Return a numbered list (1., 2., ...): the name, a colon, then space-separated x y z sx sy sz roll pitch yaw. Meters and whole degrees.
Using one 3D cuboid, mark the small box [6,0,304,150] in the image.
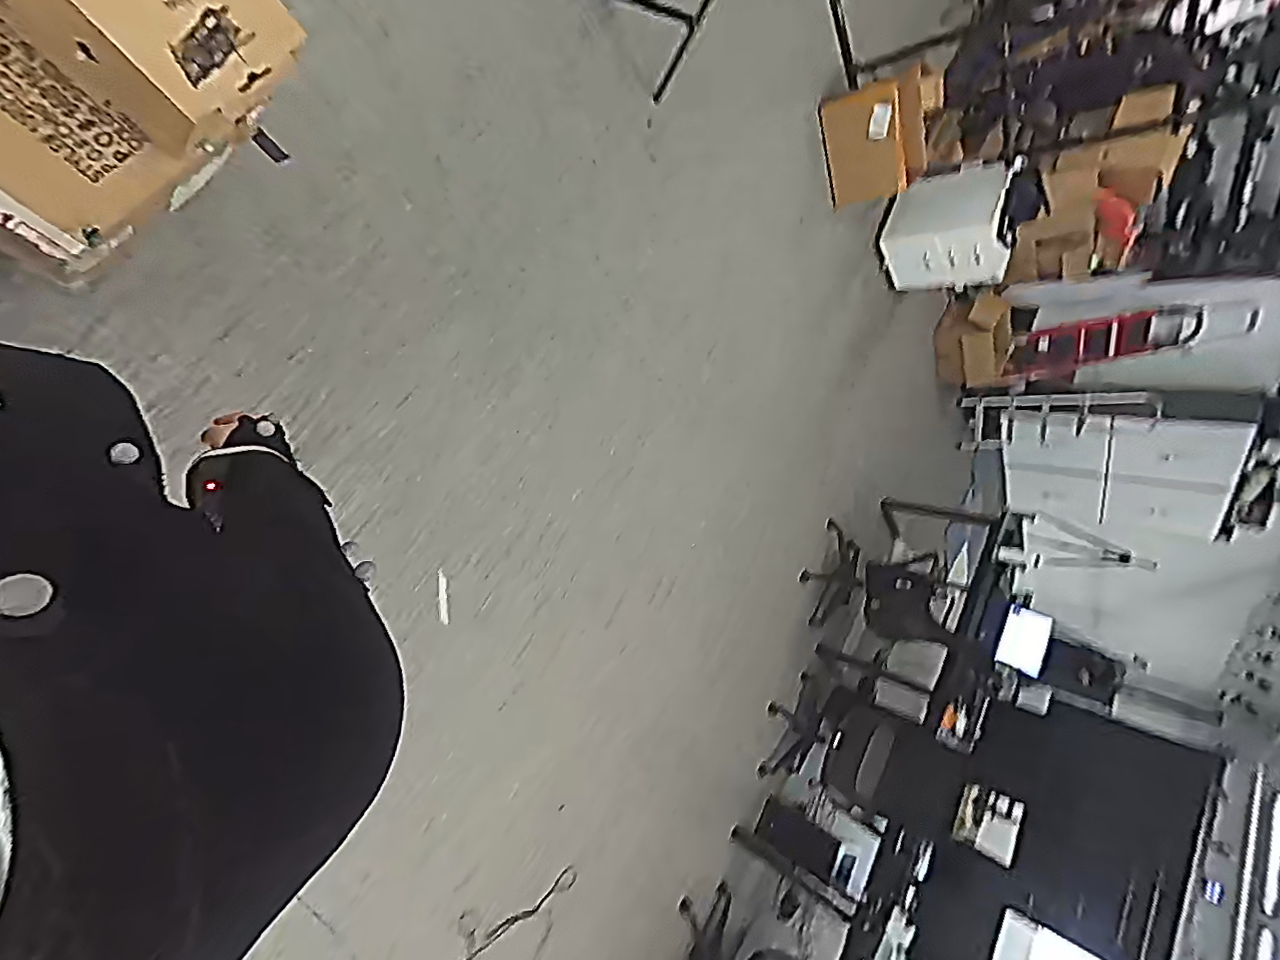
1. small box: -0.511 -0.485 0.575 0.168 0.176 0.179 -57 133 -19
